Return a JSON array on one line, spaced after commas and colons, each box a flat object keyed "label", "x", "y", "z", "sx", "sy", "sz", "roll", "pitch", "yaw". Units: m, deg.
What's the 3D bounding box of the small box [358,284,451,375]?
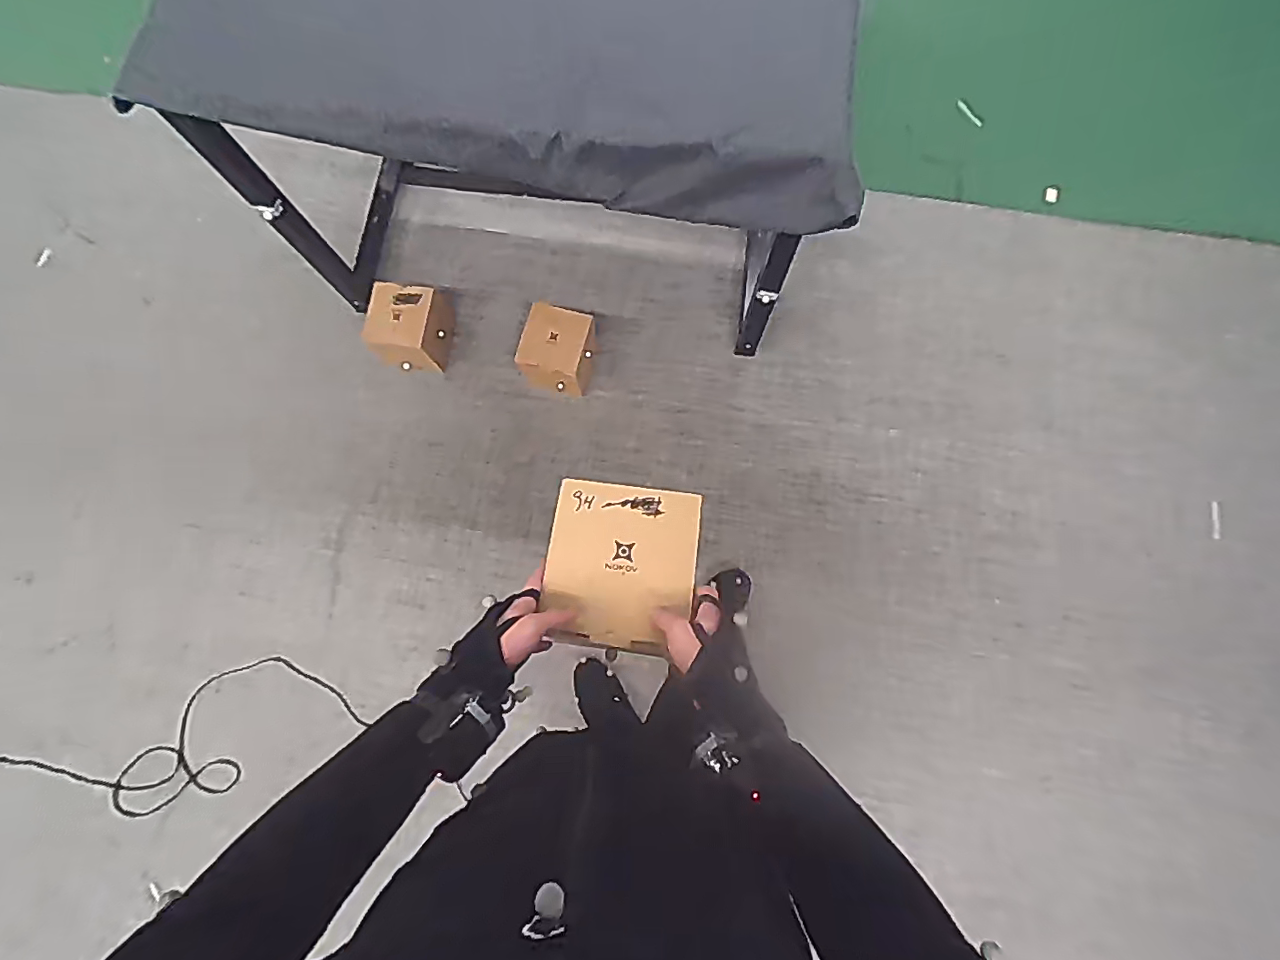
[{"label": "small box", "x": -0.640, "y": -0.411, "z": 1.492, "sx": 0.168, "sy": 0.176, "sz": 0.179, "roll": 6, "pitch": 79, "yaw": 3}]

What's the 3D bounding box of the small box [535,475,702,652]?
[{"label": "small box", "x": -0.019, "y": 0.111, "z": 0.662, "sx": 0.168, "sy": 0.176, "sz": 0.179, "roll": 6, "pitch": 70, "yaw": 2}]

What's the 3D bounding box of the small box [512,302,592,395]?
[{"label": "small box", "x": -0.231, "y": -0.352, "z": 1.475, "sx": 0.168, "sy": 0.176, "sz": 0.179, "roll": 13, "pitch": 77, "yaw": 2}]
